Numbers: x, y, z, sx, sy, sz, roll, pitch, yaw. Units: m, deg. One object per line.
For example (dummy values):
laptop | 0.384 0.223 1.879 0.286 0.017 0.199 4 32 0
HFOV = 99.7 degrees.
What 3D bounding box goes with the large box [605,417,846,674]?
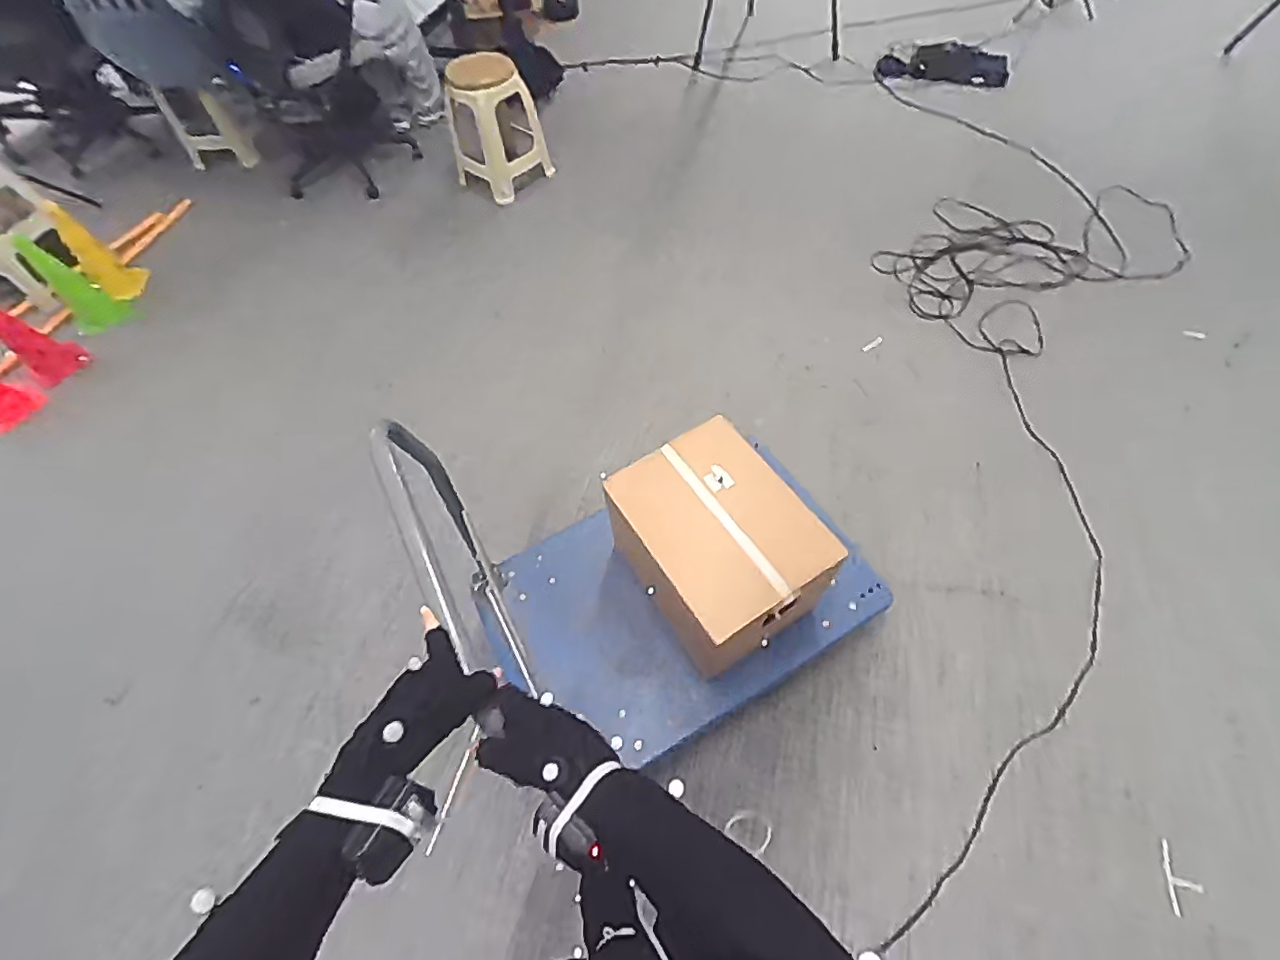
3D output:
large box | 0.170 0.146 1.201 0.320 0.320 0.408 -29 60 -15
